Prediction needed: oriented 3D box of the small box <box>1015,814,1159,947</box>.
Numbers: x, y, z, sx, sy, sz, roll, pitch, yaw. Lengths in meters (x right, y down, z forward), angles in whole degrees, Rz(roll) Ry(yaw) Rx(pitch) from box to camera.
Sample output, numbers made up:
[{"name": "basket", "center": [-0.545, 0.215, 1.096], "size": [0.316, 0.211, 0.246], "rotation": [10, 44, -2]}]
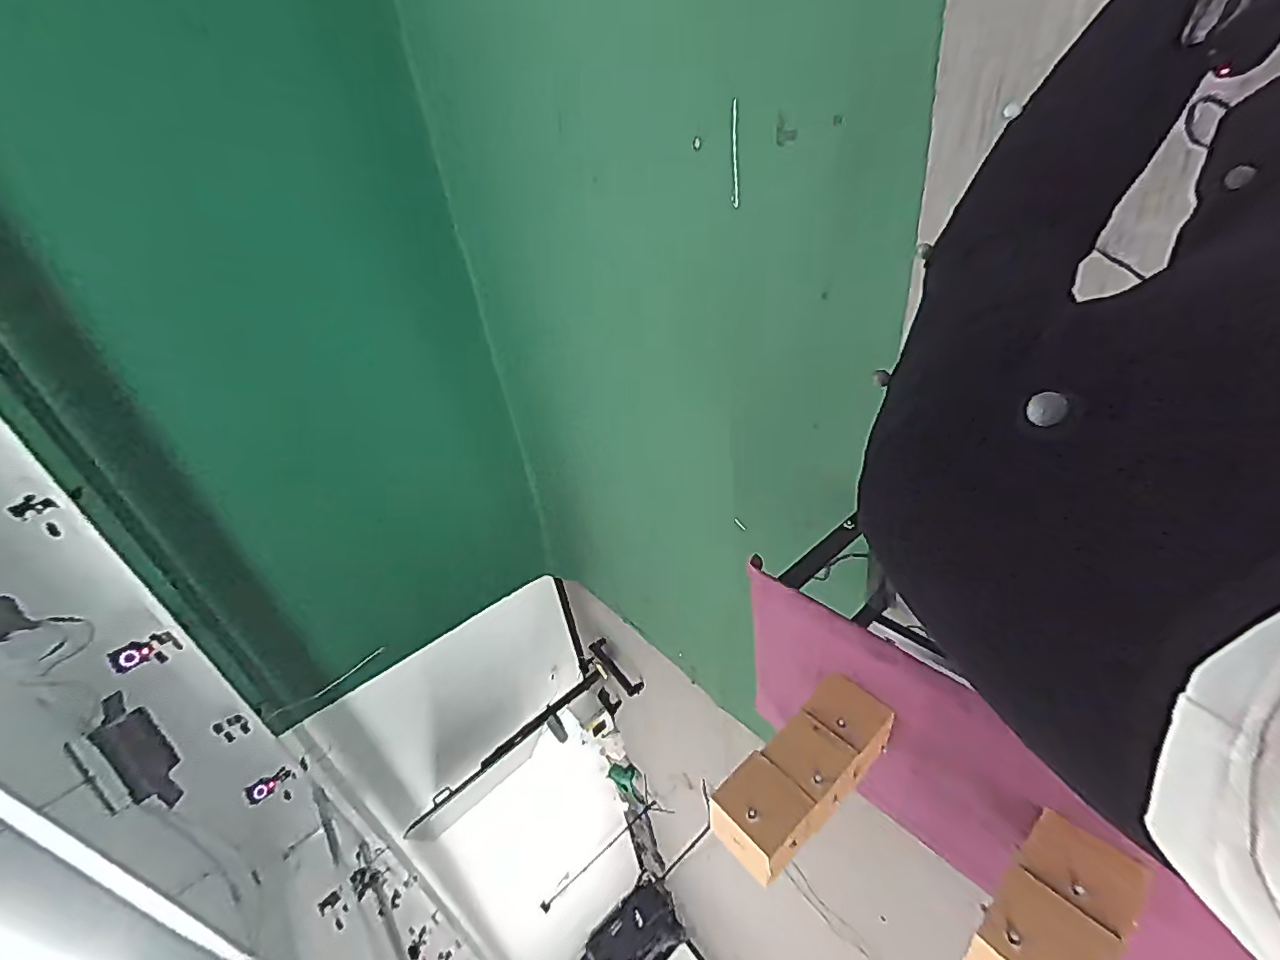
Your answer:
[{"name": "small box", "center": [0.867, 0.804, 1.067], "size": [0.179, 0.176, 0.168], "rotation": [24, 135, 45]}]

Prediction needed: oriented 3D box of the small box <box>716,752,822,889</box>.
[{"name": "small box", "center": [0.296, 0.777, 1.247], "size": [0.179, 0.176, 0.168], "rotation": [31, 139, 40]}]

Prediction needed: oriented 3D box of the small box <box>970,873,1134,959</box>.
[{"name": "small box", "center": [0.738, 0.862, 0.979], "size": [0.179, 0.176, 0.168], "rotation": [26, 136, 44]}]

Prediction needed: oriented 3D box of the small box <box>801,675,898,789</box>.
[{"name": "small box", "center": [0.547, 0.650, 1.416], "size": [0.179, 0.176, 0.168], "rotation": [30, 139, 42]}]
